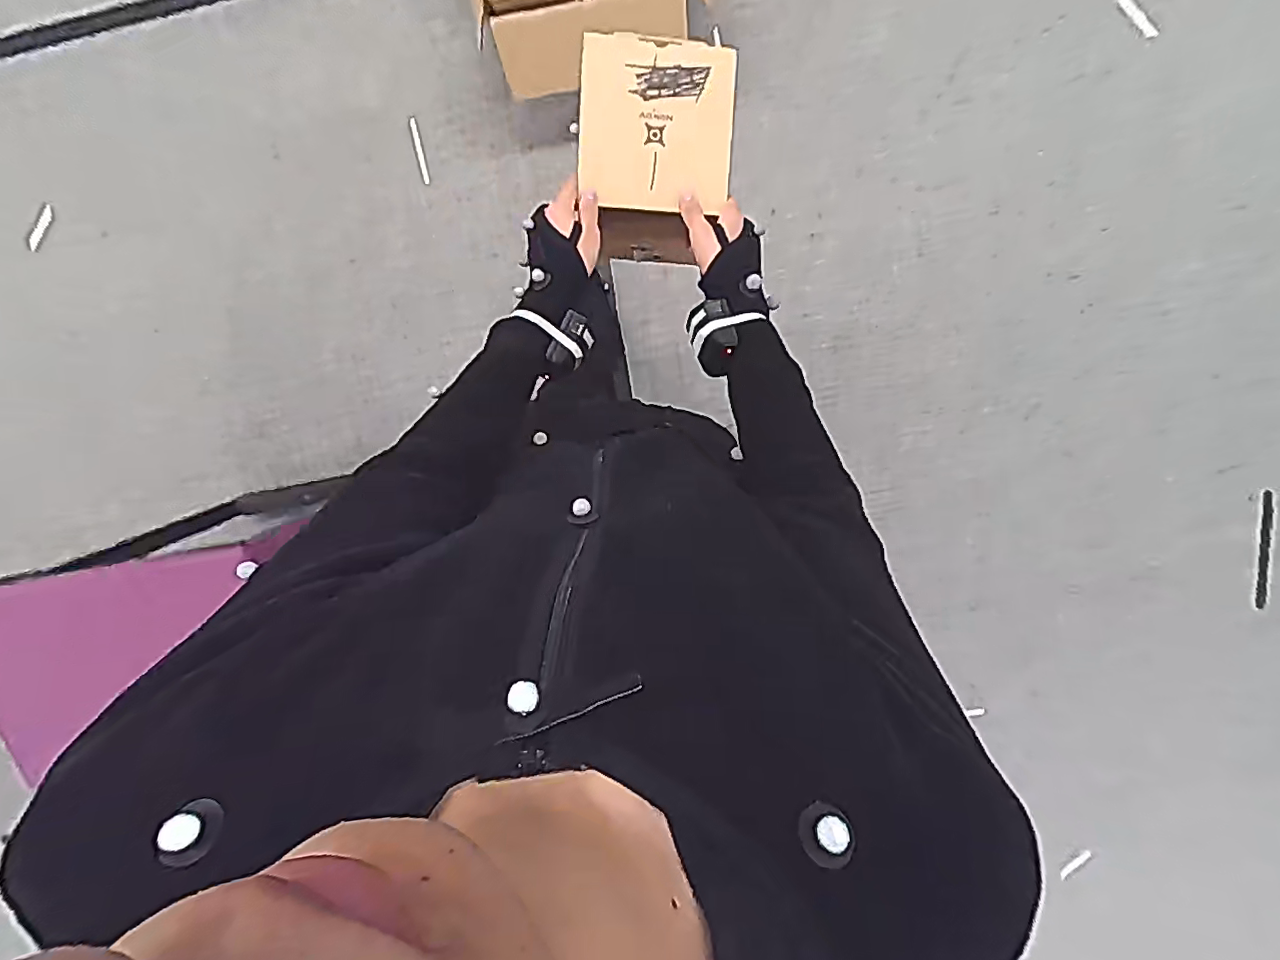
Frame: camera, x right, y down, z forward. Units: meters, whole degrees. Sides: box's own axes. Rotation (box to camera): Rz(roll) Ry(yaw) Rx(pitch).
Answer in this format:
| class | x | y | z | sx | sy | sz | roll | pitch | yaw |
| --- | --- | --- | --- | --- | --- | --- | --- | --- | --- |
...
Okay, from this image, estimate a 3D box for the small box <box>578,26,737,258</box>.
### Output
| class | x | y | z | sx | sy | sz | roll | pitch | yaw |
| --- | --- | --- | --- | --- | --- | --- | --- | --- | --- |
| small box | 0.013 | -0.394 | 0.660 | 0.168 | 0.176 | 0.179 | 3 | 94 | -4 |
